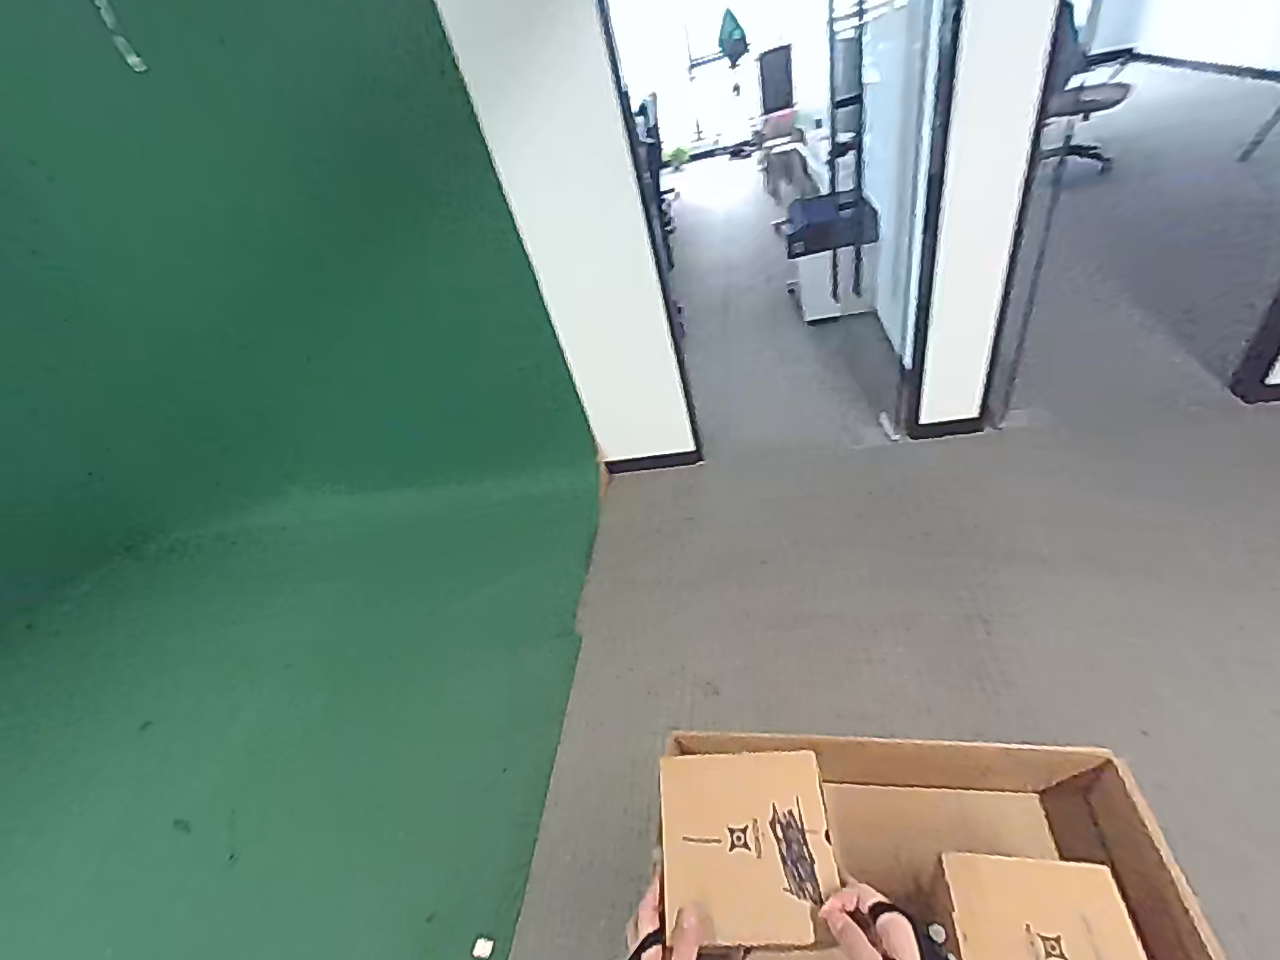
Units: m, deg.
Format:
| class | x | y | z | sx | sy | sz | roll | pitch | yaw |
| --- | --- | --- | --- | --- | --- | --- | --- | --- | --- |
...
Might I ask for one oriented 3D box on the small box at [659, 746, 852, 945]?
| class | x | y | z | sx | sy | sz | roll | pitch | yaw |
| --- | --- | --- | --- | --- | --- | --- | --- | --- | --- |
| small box | 0.115 | 0.414 | 0.611 | 0.179 | 0.176 | 0.168 | -5 | 48 | 4 |
